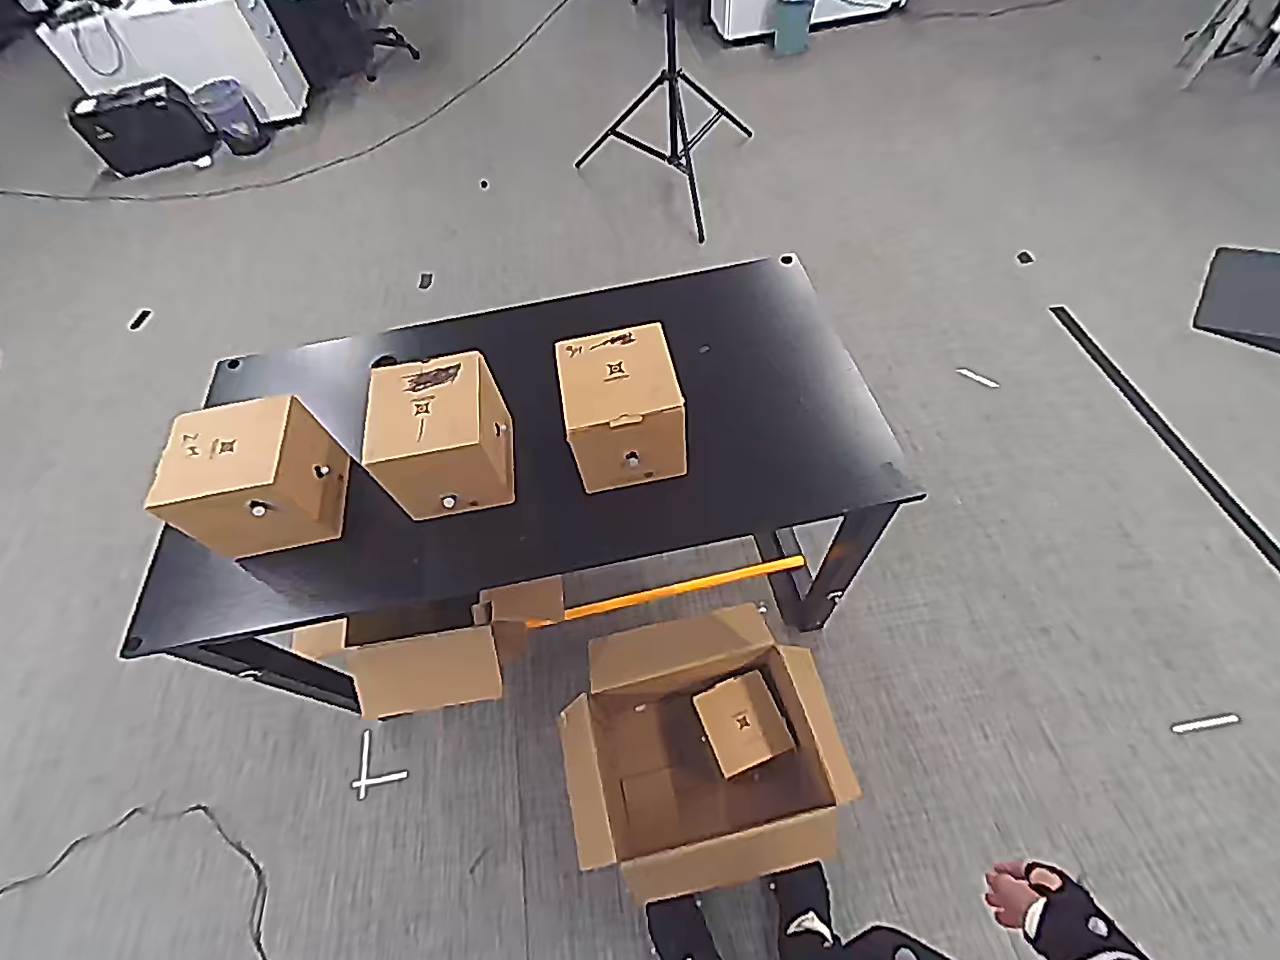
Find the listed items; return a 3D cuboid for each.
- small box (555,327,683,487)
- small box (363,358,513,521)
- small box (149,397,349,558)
[{"bbox_3d":[-0.029,-0.104,0.845,0.168,0.176,0.179,-11,58,-1],"label":"small box"},{"bbox_3d":[-0.302,-0.060,0.845,0.168,0.176,0.179,-11,58,0],"label":"small box"},{"bbox_3d":[-0.580,0.001,0.833,0.179,0.176,0.168,-12,57,-2],"label":"small box"}]
